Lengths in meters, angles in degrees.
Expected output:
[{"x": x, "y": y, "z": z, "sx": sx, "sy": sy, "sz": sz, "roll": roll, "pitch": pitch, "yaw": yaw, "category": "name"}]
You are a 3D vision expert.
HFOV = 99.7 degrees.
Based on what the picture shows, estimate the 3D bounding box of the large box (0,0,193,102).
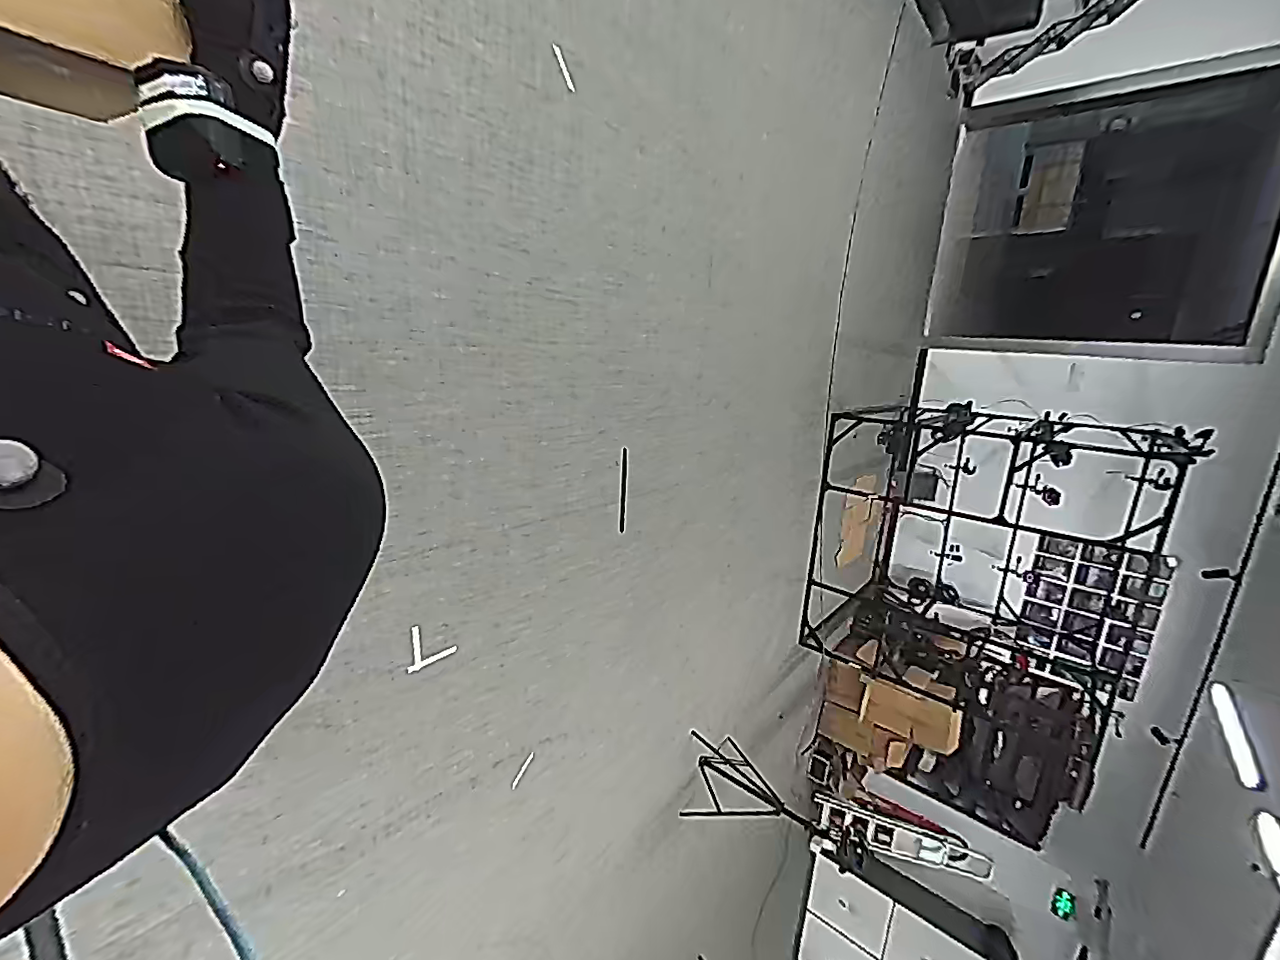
[{"x": -0.557, "y": -0.468, "z": 0.296, "sx": 0.408, "sy": 0.320, "sz": 0.320, "roll": -13, "pitch": 119, "yaw": -52, "category": "large box"}]
